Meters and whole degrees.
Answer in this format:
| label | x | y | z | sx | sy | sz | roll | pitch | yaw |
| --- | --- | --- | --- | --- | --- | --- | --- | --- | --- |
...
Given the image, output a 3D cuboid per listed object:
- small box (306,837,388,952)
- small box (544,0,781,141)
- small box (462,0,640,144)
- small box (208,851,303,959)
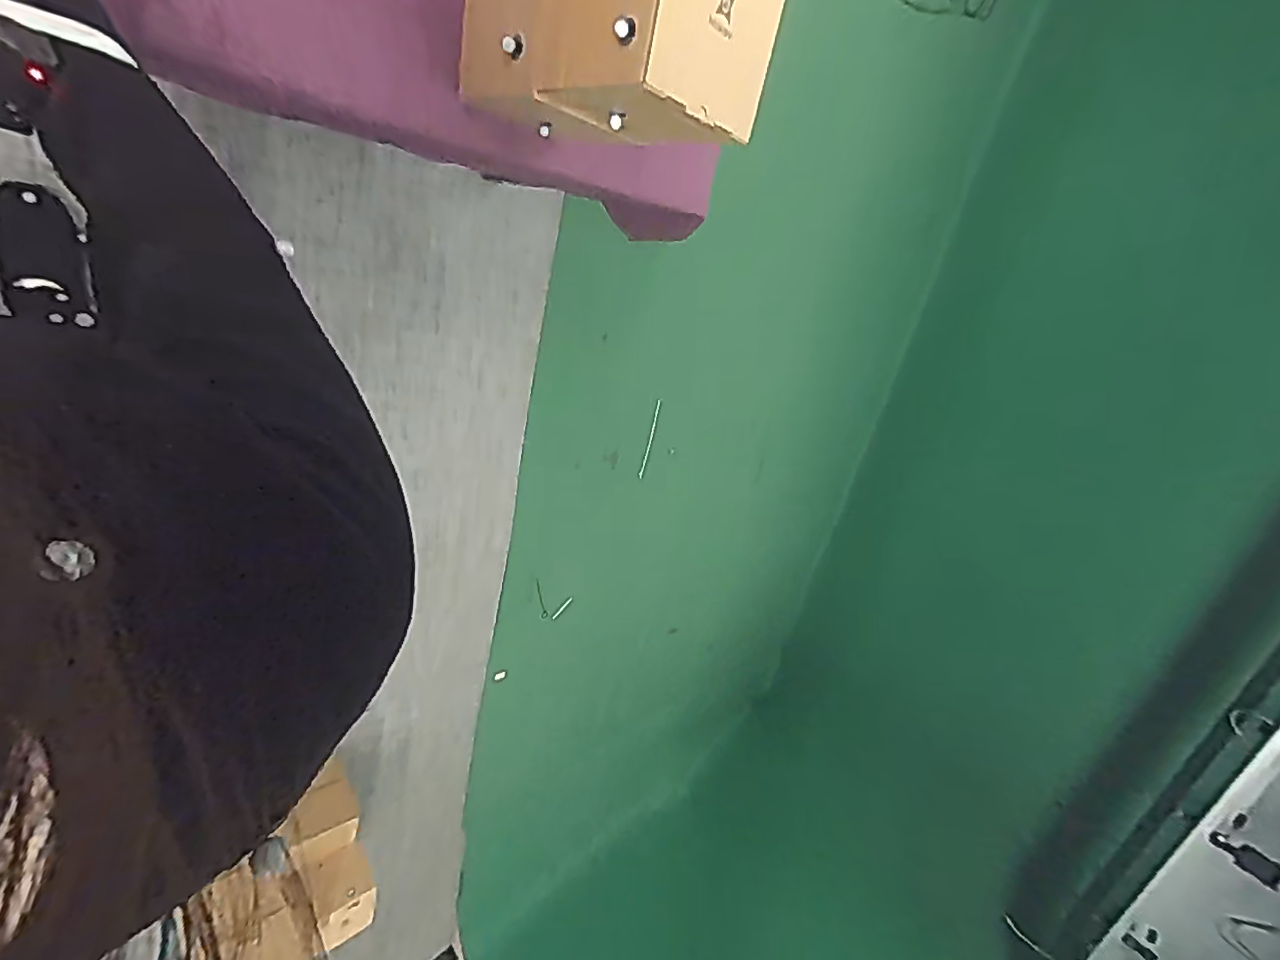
| label | x | y | z | sx | sy | sz | roll | pitch | yaw |
| --- | --- | --- | --- | --- | --- | --- | --- | --- | --- |
| small box | -0.872 | 1.215 | 1.599 | 0.168 | 0.176 | 0.179 | -7 | 121 | -47 |
| small box | 0.021 | -0.470 | 0.550 | 0.168 | 0.176 | 0.179 | -11 | 122 | -45 |
| small box | -0.097 | -0.527 | 0.648 | 0.168 | 0.176 | 0.179 | -11 | 121 | -45 |
| small box | -0.994 | 1.118 | 1.393 | 0.179 | 0.176 | 0.168 | -8 | 121 | -46 |
